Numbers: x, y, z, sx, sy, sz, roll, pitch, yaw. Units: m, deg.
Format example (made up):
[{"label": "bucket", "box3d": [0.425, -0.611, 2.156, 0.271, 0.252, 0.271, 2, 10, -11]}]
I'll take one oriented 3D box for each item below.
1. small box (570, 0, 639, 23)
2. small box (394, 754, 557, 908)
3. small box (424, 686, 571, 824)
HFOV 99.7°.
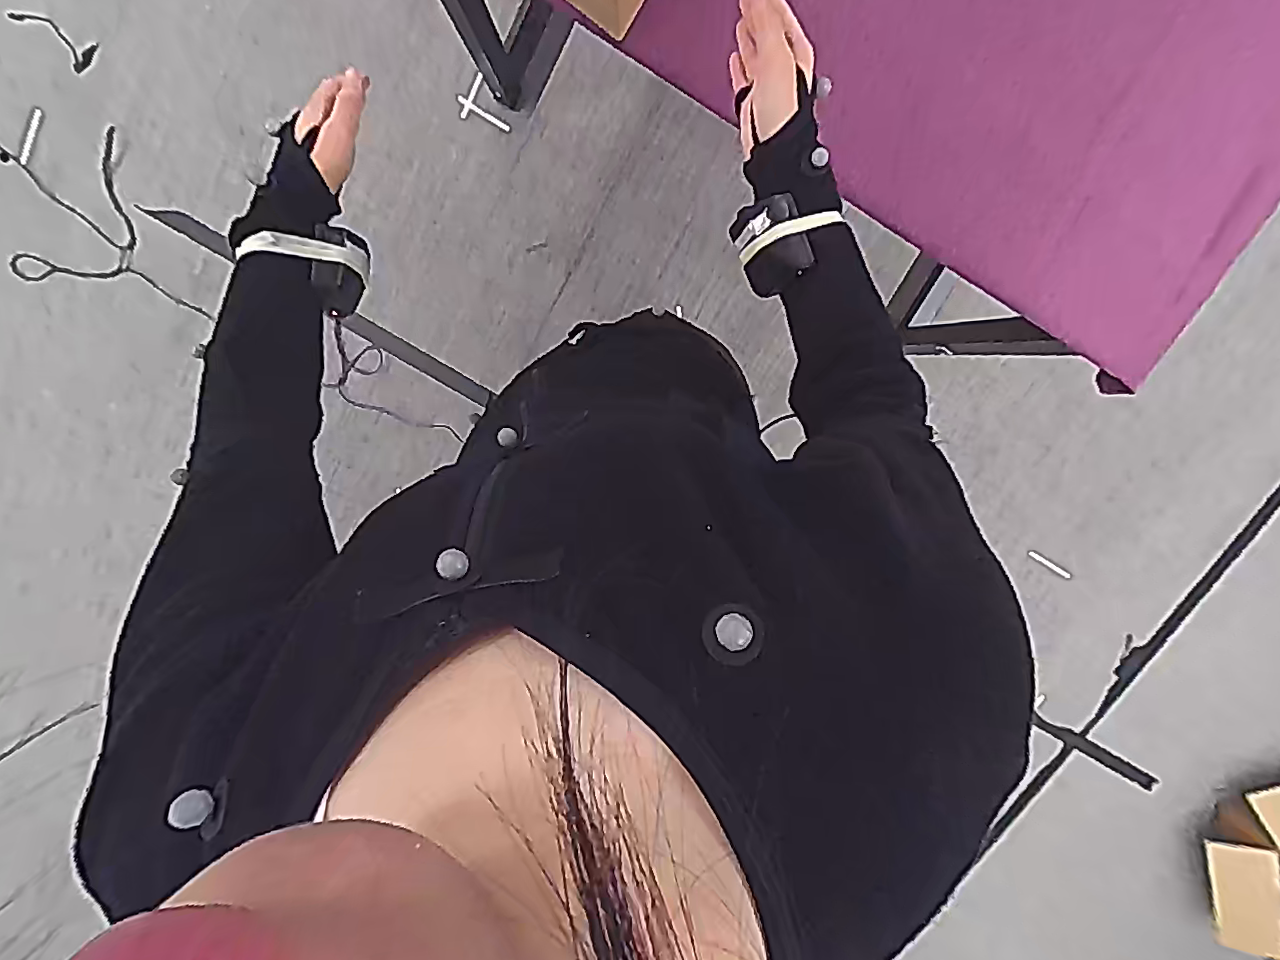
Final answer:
[{"label": "small box", "box3d": [-0.045, -0.604, 0.523, 0.179, 0.176, 0.168, 34, 101, -8]}, {"label": "small box", "box3d": [-0.230, 0.536, 0.771, 0.168, 0.176, 0.179, 29, 102, -7]}, {"label": "small box", "box3d": [-0.232, 0.499, 0.930, 0.168, 0.176, 0.179, 31, 102, -7]}]
